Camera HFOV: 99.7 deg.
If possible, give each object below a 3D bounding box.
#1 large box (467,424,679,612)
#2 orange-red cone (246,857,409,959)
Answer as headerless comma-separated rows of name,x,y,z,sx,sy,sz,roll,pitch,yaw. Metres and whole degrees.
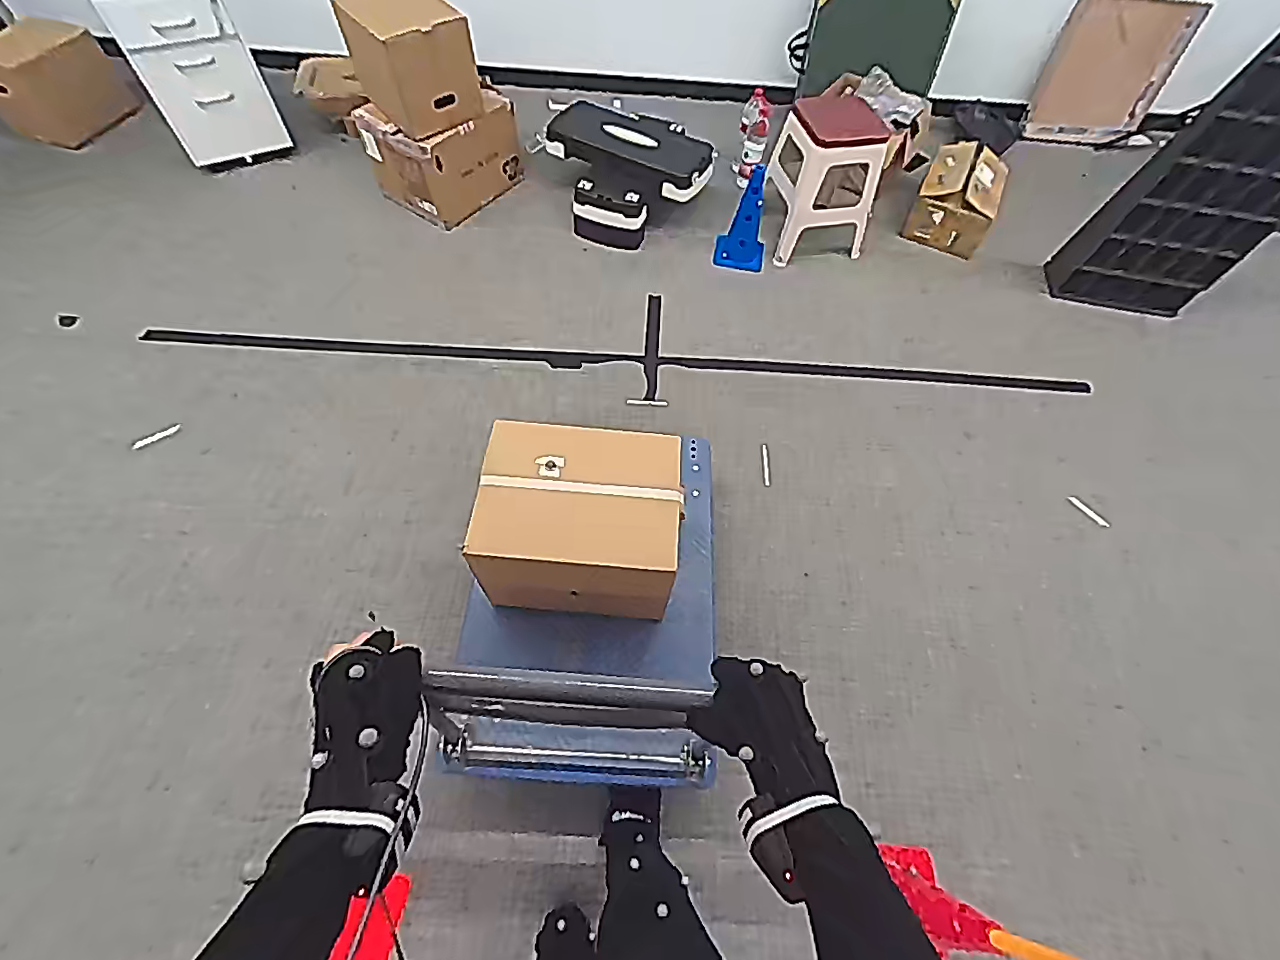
large box,-0.125,0.097,1.222,0.408,0.320,0.320,5,59,0
orange-red cone,-0.579,0.804,0.945,0.198,0.360,0.199,11,58,2
